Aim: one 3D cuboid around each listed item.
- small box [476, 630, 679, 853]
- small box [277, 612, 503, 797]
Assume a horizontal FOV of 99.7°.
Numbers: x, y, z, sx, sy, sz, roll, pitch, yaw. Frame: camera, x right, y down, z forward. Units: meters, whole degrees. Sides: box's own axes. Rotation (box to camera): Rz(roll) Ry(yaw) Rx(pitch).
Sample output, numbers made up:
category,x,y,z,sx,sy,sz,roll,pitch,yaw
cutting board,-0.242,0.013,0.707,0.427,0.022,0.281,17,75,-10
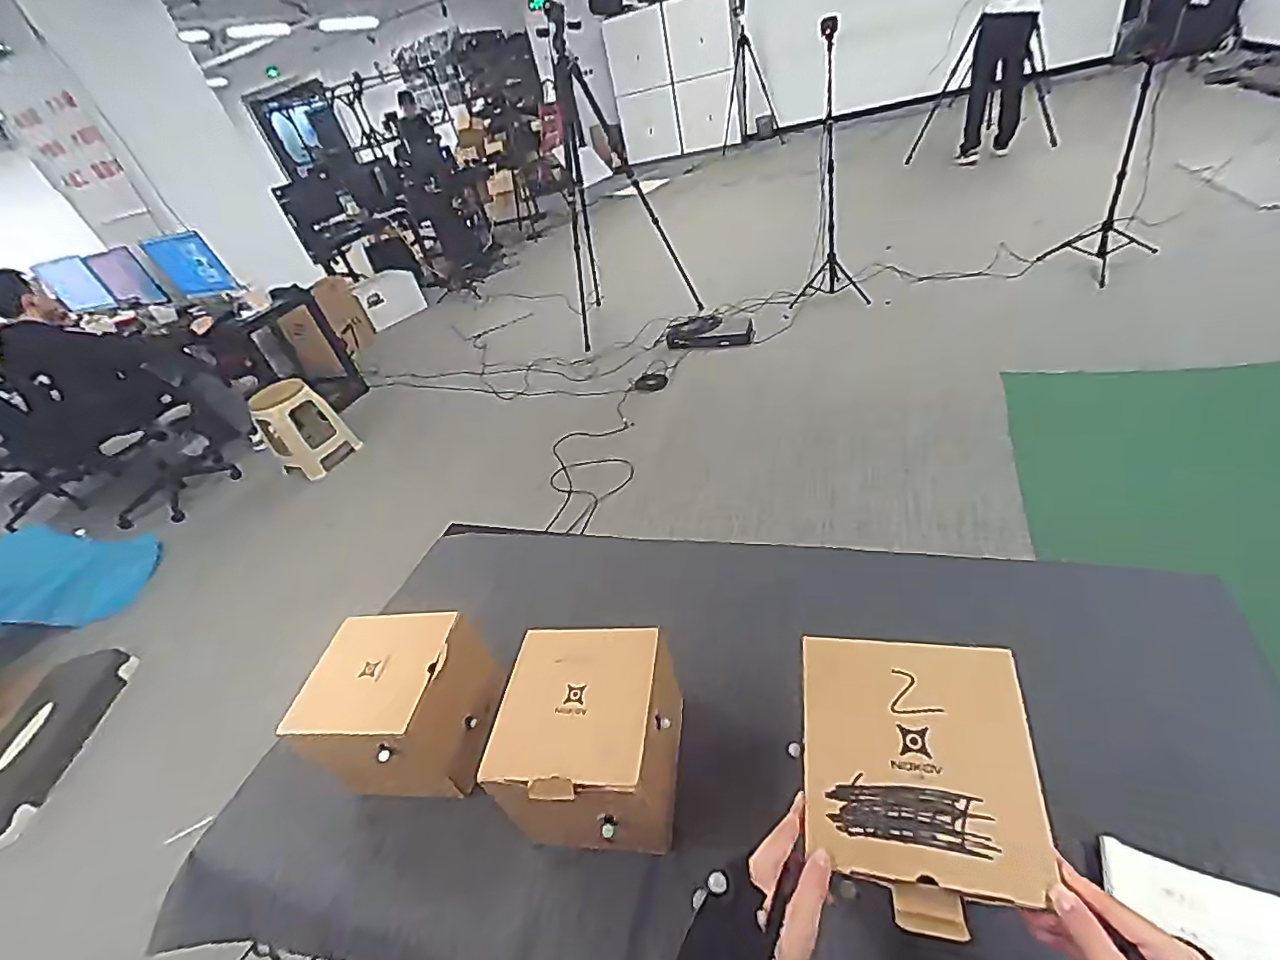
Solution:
category,x,y,z,sx,sy,sz,roll,pitch,yaw
small box,-0.053,0.293,0.614,0.168,0.176,0.179,-4,37,14
small box,-0.308,0.294,0.707,0.179,0.176,0.168,-6,37,12
